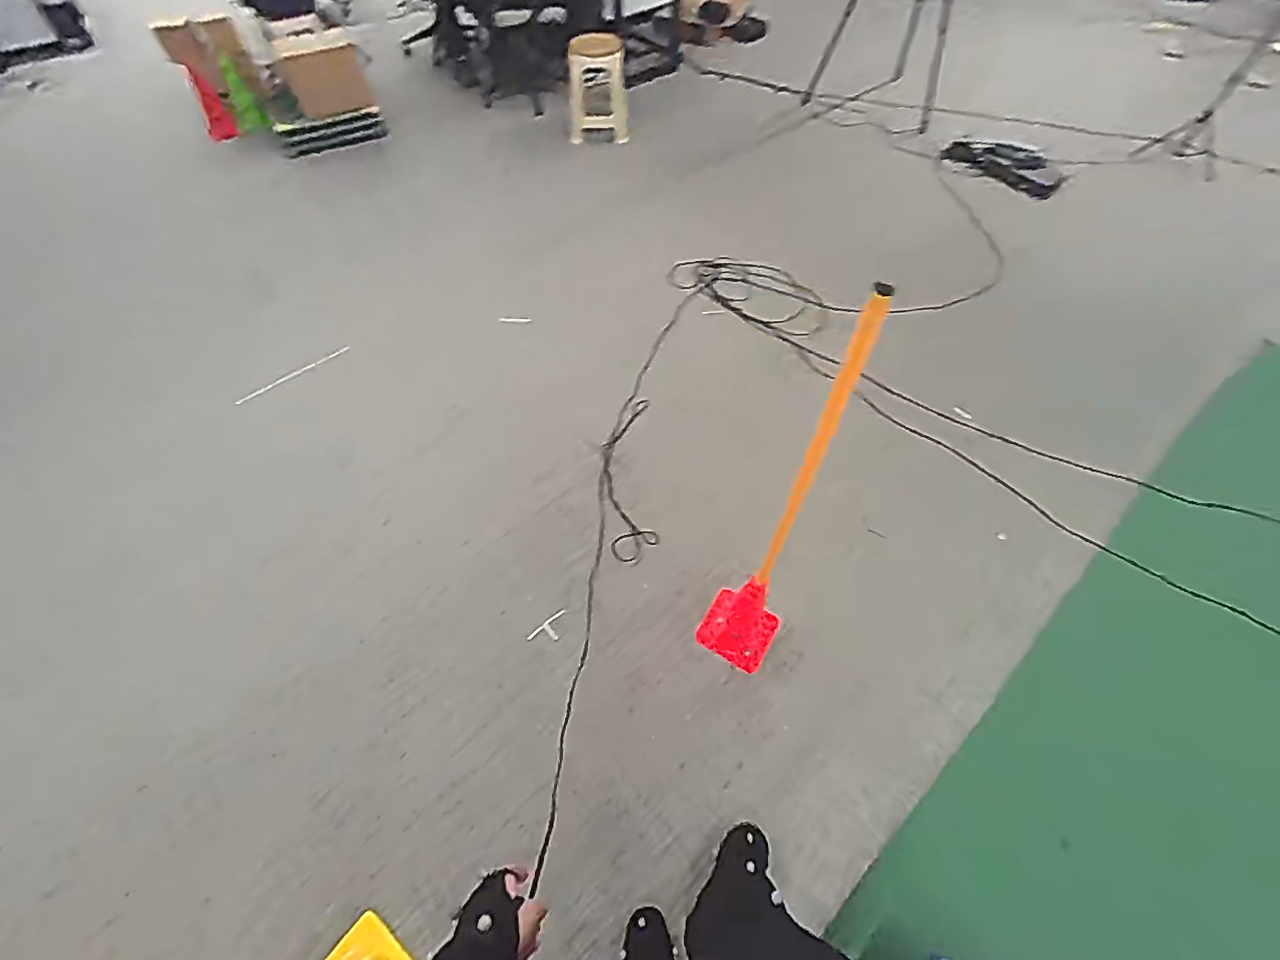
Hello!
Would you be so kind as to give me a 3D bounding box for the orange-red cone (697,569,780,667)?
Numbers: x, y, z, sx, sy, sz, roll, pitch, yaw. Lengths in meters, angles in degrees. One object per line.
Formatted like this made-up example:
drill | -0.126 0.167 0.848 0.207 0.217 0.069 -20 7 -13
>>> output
orange-red cone | 0.296 0.329 1.456 0.198 0.360 0.199 30 59 17
